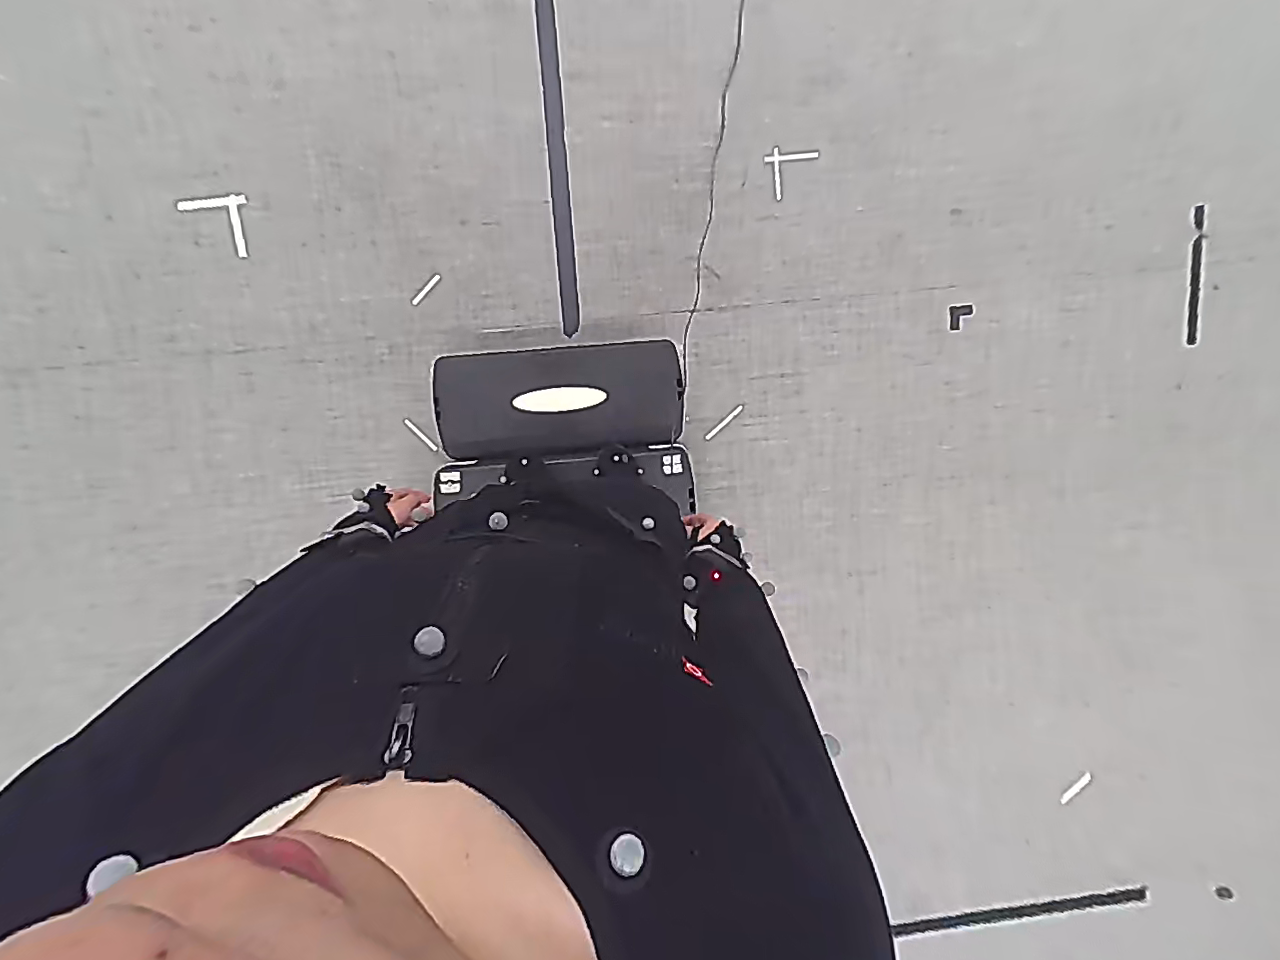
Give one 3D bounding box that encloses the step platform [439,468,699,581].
[{"bbox_3d":[-0.183,0.116,1.467,0.684,0.204,0.286,-1,94,-2],"label":"step platform"}]
